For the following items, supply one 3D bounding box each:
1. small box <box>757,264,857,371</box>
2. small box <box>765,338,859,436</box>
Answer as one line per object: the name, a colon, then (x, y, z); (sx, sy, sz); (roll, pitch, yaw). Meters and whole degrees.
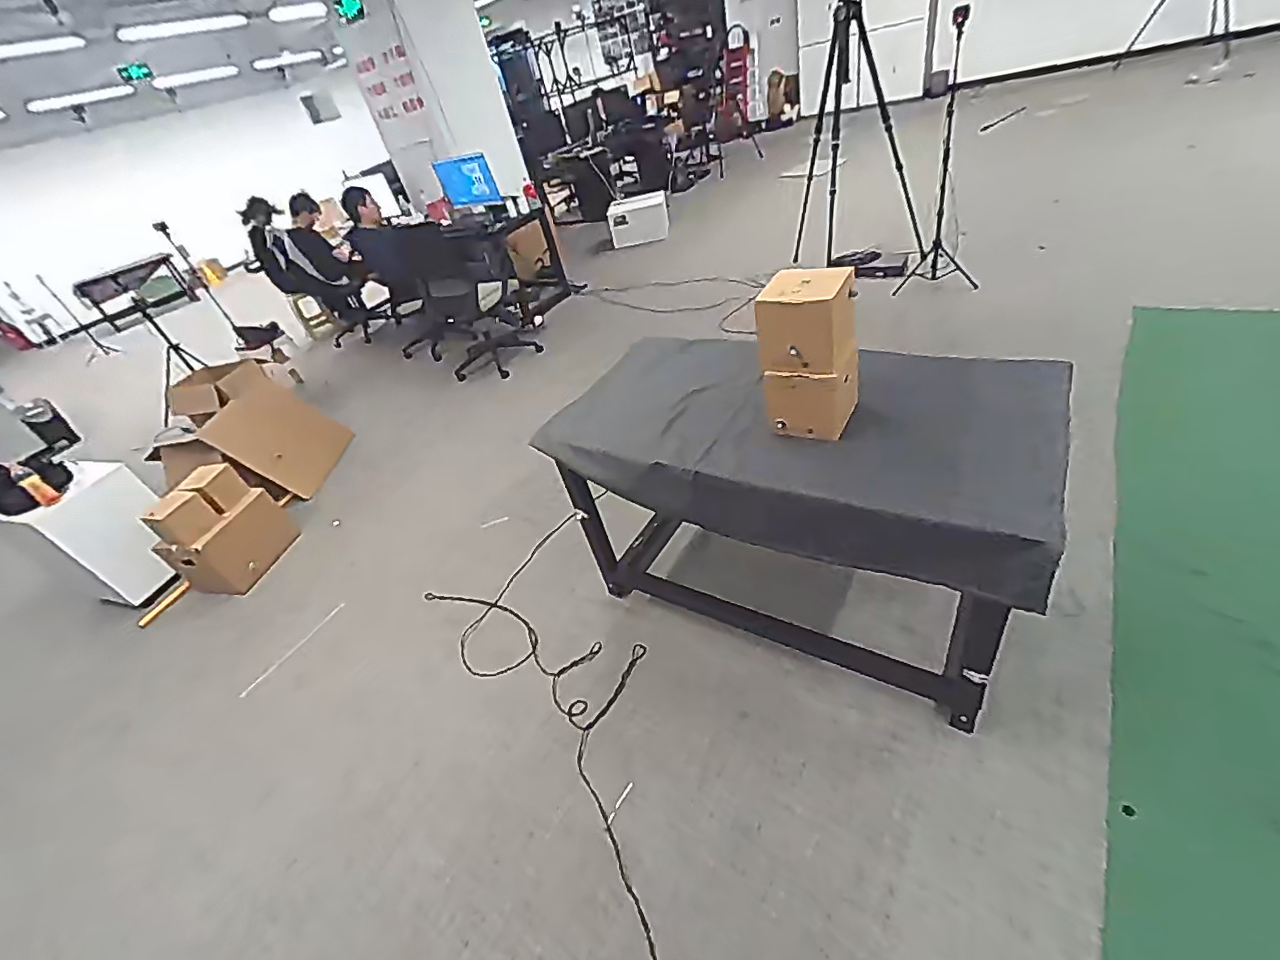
small box: (0.372, -0.359, 1.196); (0.168, 0.176, 0.179); (11, 46, 32)
small box: (0.413, -0.223, 1.281); (0.168, 0.176, 0.179); (12, 45, 32)
